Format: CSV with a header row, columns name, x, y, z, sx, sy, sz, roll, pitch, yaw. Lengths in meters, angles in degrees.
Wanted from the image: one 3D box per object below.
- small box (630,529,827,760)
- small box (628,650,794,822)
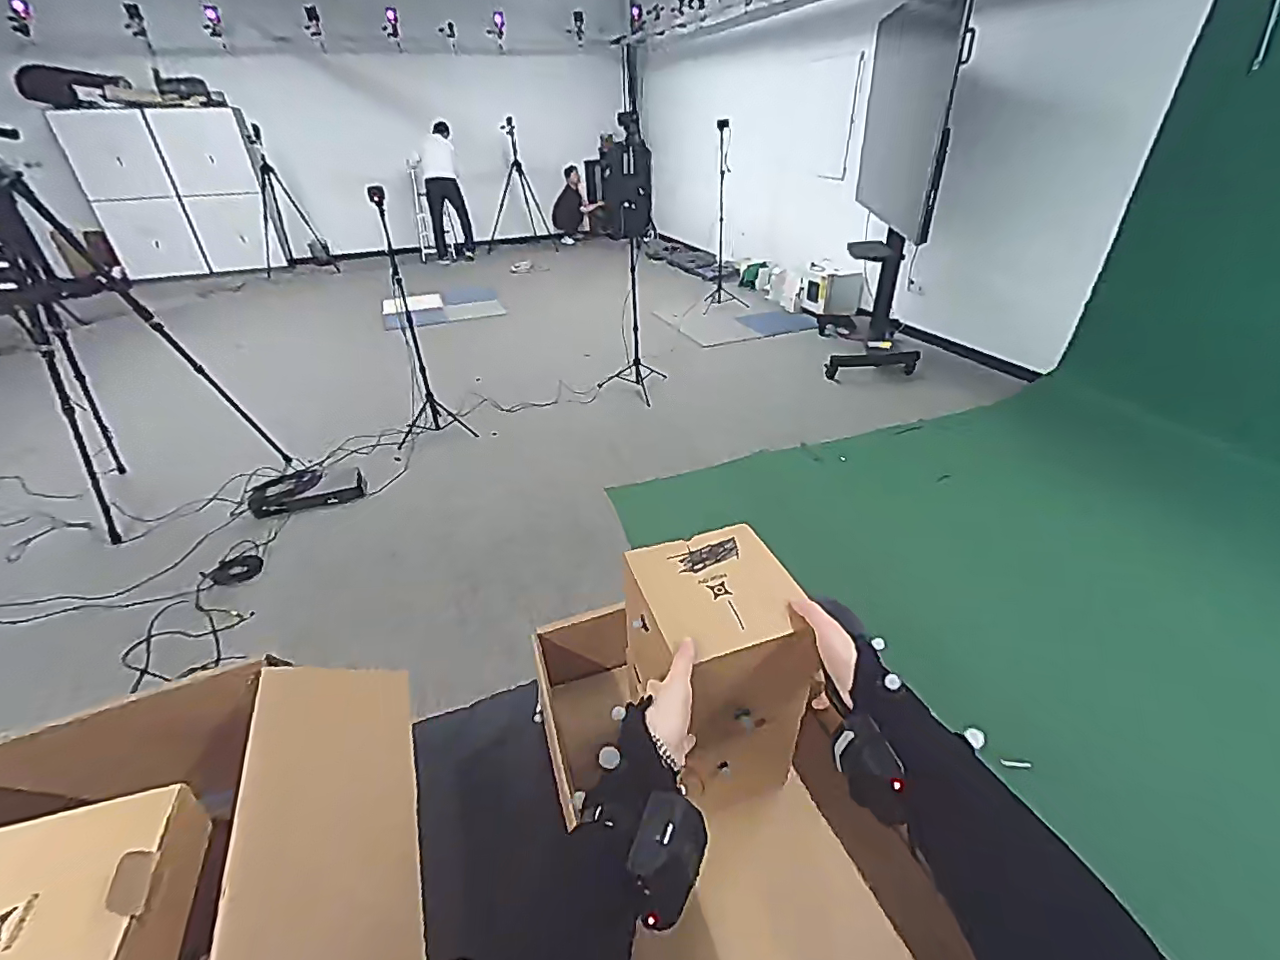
name,x,y,z,sx,sy,sz,roll,pitch,yaw
small box,0.090,0.188,0.641,0.168,0.176,0.179,-12,36,-15
small box,0.094,0.324,0.734,0.179,0.176,0.168,-13,35,-13
